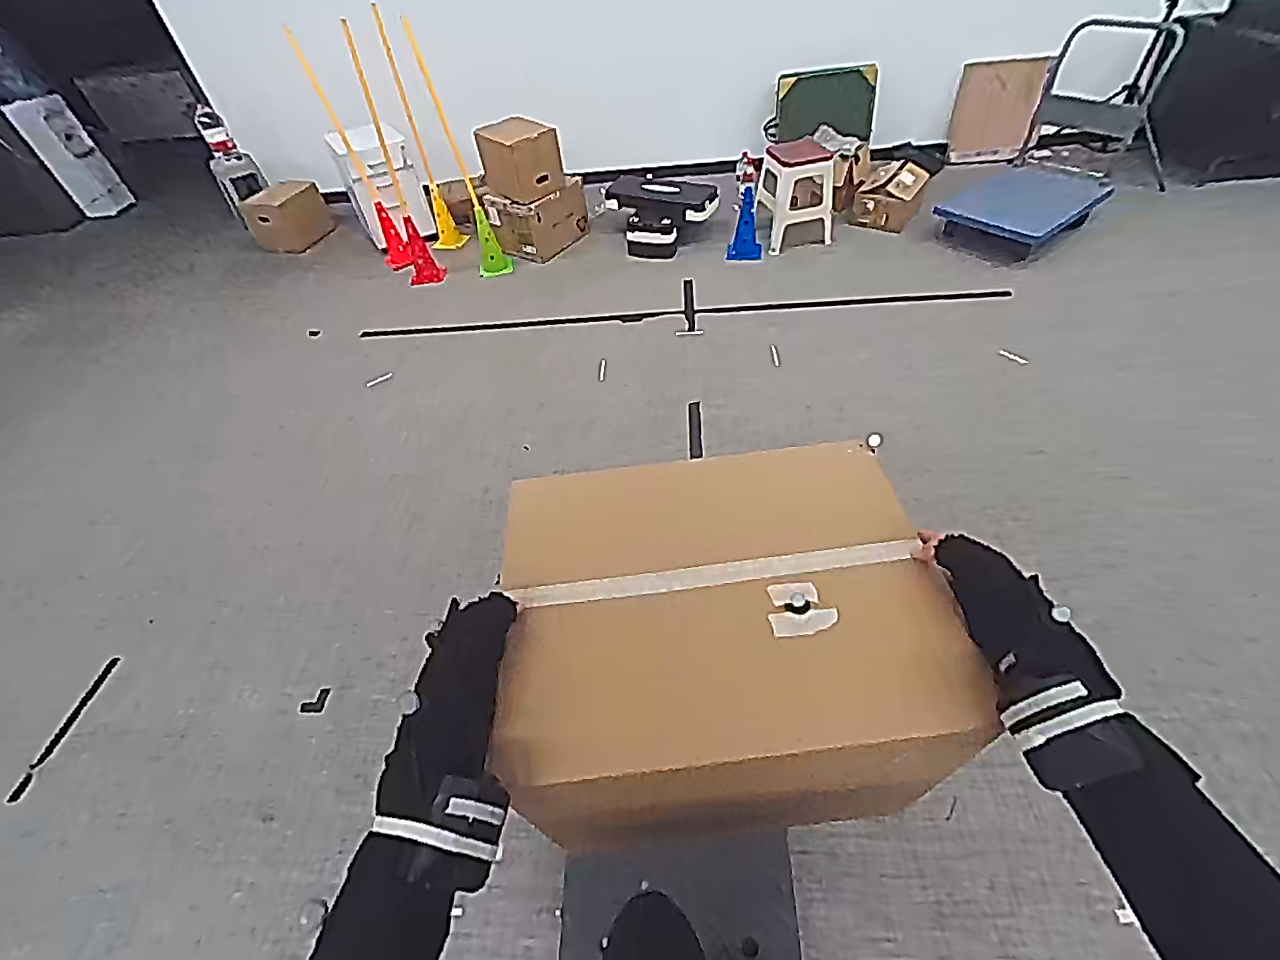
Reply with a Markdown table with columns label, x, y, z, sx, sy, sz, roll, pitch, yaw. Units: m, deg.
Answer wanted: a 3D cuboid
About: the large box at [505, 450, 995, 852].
| label | x | y | z | sx | sy | sz | roll | pitch | yaw |
| --- | --- | --- | --- | --- | --- | --- | --- | --- | --- |
| large box | 0.084 | 0.202 | 0.634 | 0.408 | 0.320 | 0.320 | -7 | 48 | 0 |
